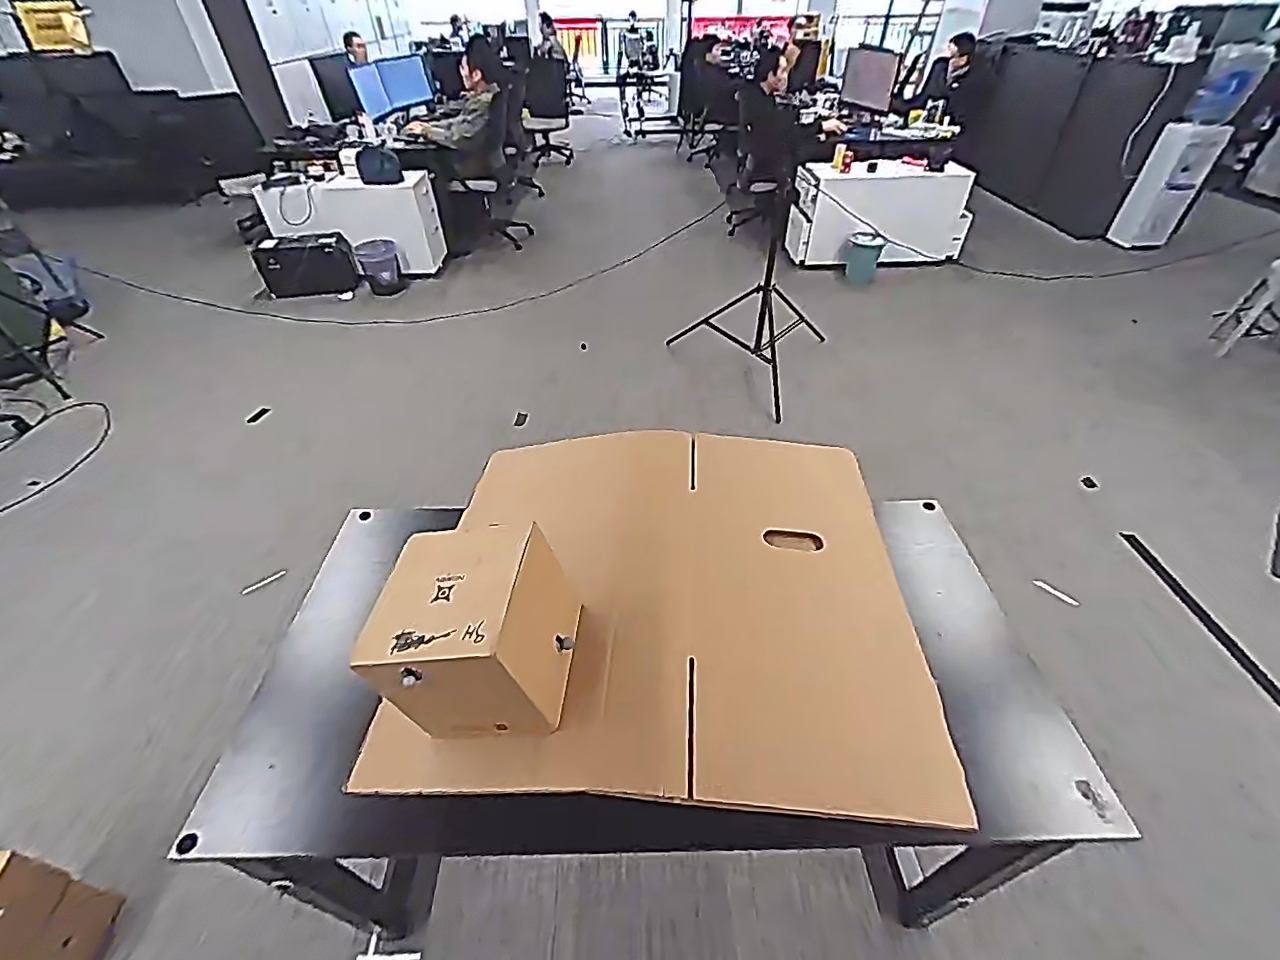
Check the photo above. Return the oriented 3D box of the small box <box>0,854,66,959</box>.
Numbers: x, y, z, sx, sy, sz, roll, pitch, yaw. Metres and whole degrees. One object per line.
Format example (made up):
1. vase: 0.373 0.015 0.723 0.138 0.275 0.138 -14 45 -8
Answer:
1. small box: -1.247 0.828 1.000 0.168 0.176 0.179 -5 41 -6

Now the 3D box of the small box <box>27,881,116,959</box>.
1. small box: -1.243 0.953 1.104 0.168 0.176 0.179 -4 43 -3

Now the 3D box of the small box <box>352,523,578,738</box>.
1. small box: -0.182 0.176 0.629 0.168 0.176 0.179 -9 40 13
